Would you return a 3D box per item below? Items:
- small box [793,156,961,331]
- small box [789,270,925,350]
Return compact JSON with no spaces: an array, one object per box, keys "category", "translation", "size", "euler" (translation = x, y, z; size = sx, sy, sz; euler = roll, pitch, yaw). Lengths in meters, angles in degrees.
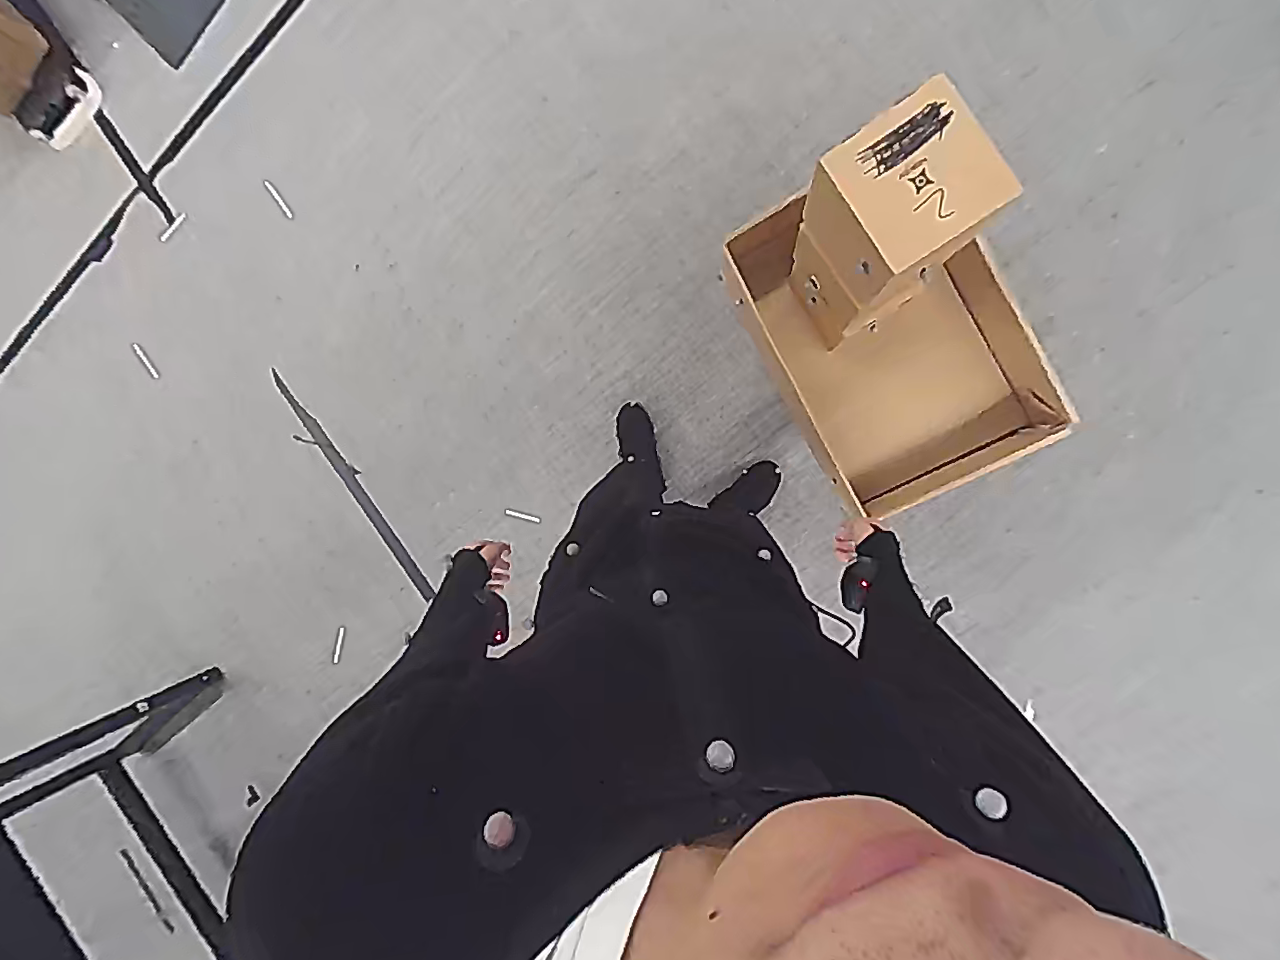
[{"category":"small box","translation":[0.371,-0.372,0.885],"size":[0.179,0.176,0.168],"euler":[-33,87,11]},{"category":"small box","translation":[0.405,-0.375,1.045],"size":[0.168,0.176,0.179],"euler":[-31,89,12]}]
